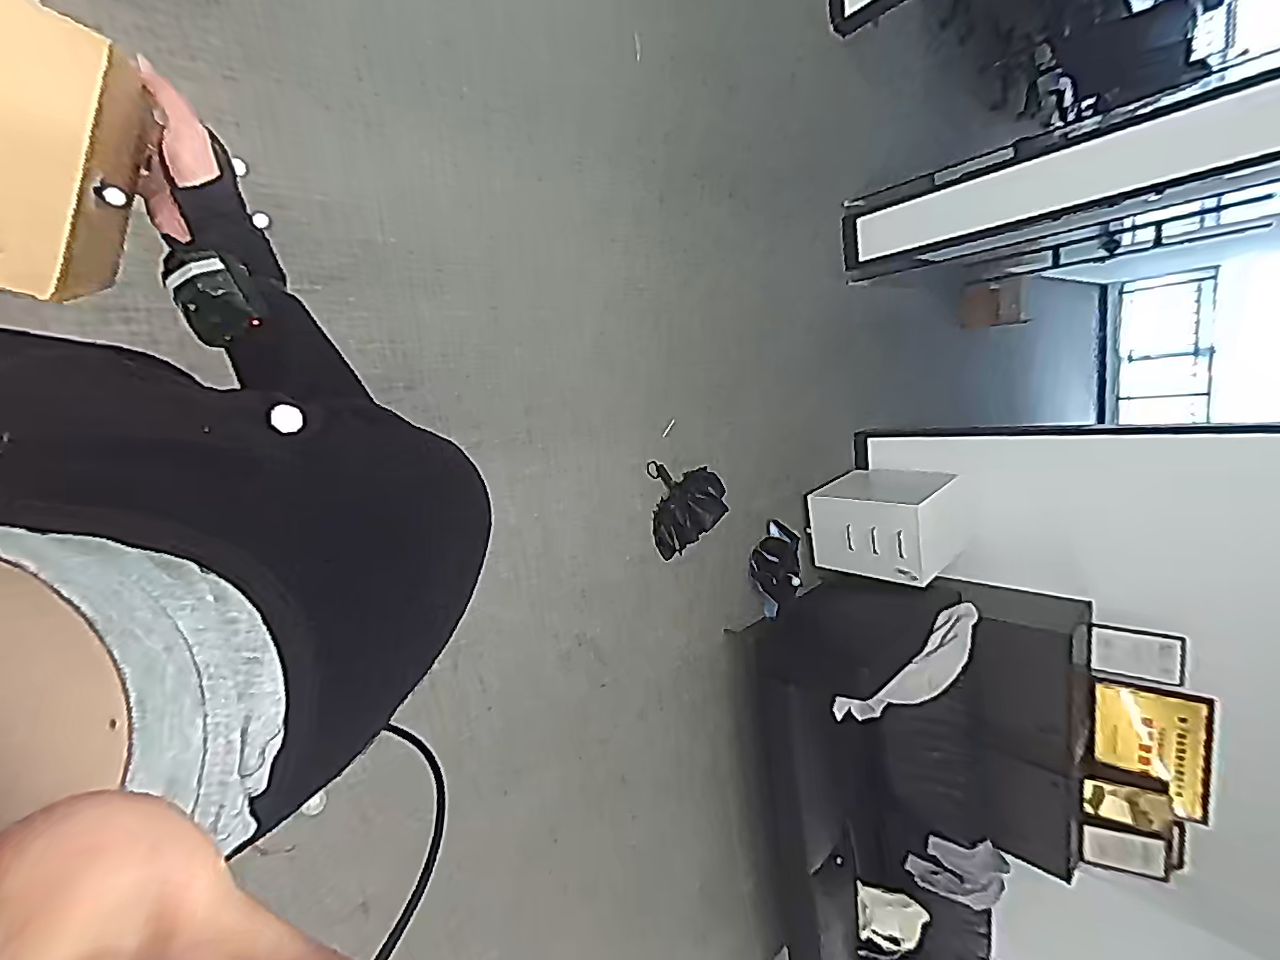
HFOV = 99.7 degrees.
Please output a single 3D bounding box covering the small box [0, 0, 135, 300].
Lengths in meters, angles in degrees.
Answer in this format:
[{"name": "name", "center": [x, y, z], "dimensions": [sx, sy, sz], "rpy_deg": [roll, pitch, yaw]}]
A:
[{"name": "small box", "center": [-0.475, -0.244, 0.363], "dimensions": [0.168, 0.176, 0.179], "rpy_deg": [14, 102, -39]}]
